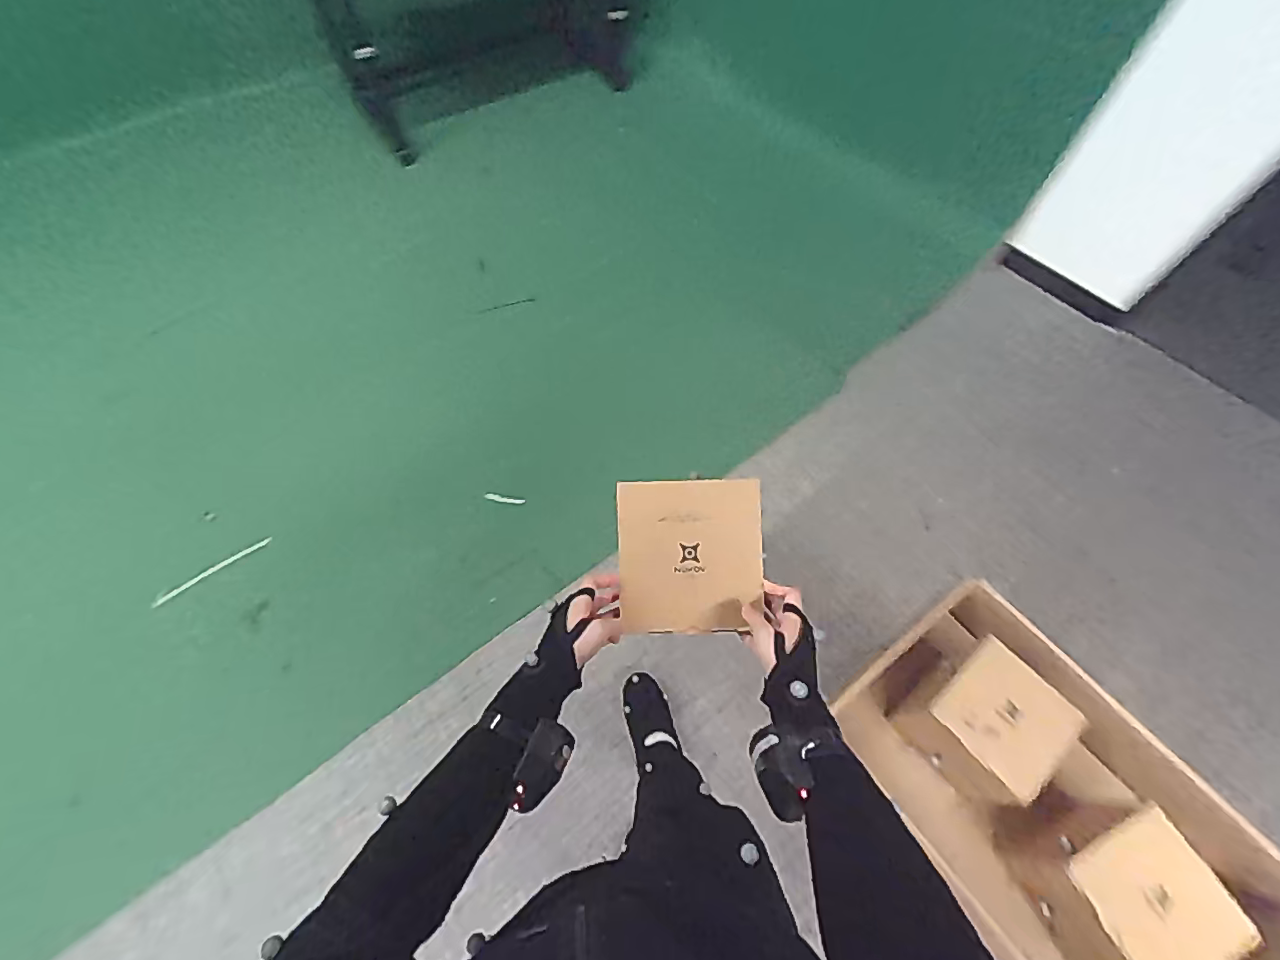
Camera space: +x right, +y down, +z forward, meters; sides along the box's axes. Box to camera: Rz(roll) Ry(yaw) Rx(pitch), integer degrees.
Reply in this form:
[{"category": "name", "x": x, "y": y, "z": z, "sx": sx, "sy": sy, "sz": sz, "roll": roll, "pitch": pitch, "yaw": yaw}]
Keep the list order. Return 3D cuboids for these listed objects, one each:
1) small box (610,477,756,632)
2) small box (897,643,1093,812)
[{"category": "small box", "x": 0.051, "y": 0.085, "z": 0.690, "sx": 0.168, "sy": 0.176, "sz": 0.179, "roll": -2, "pitch": 88, "yaw": 0}, {"category": "small box", "x": 0.557, "y": 0.398, "z": 0.875, "sx": 0.179, "sy": 0.176, "sz": 0.168, "roll": -36, "pitch": 67, "yaw": -17}]
